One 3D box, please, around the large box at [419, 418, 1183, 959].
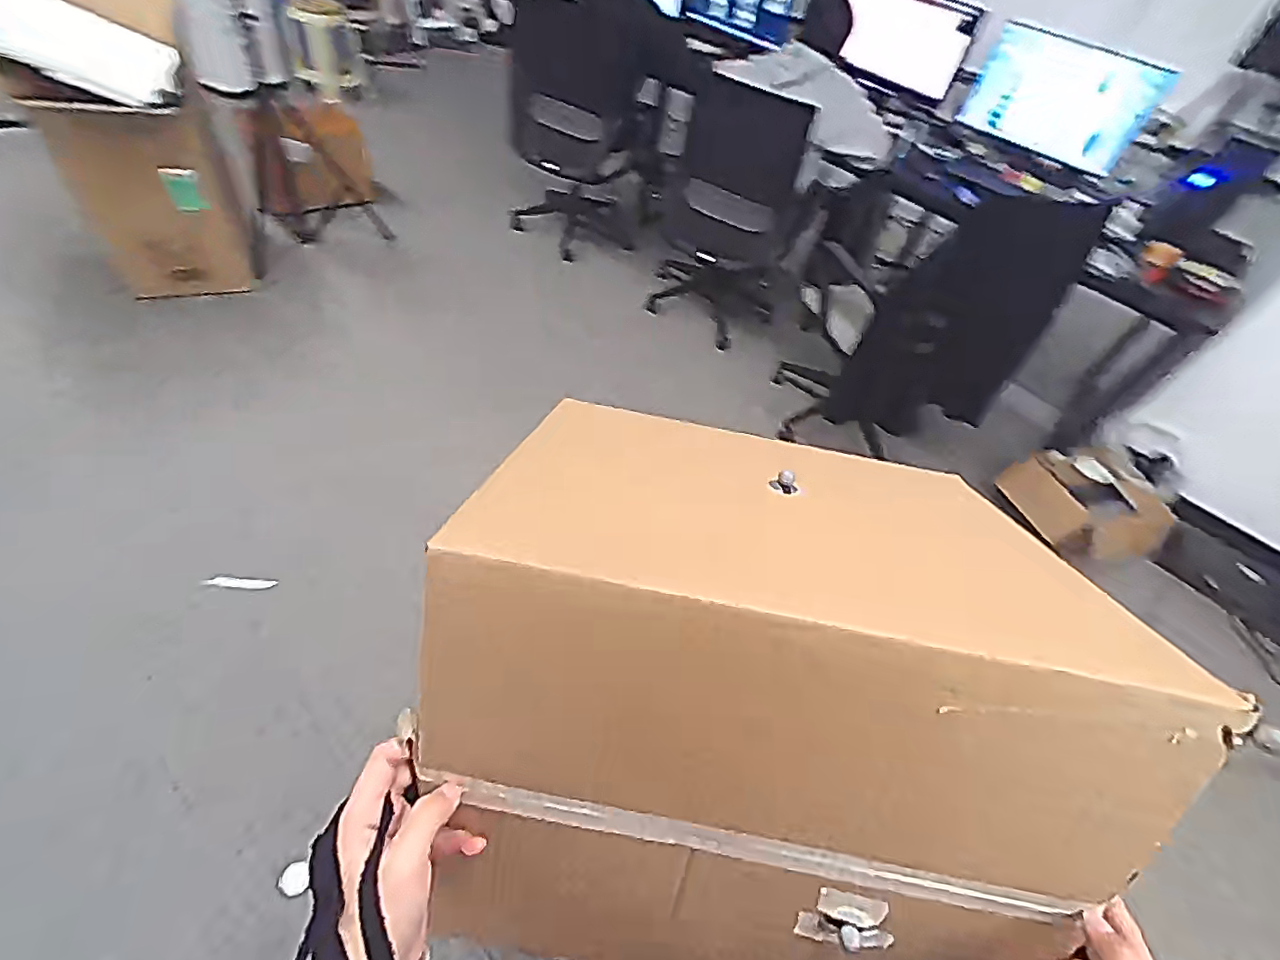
[{"bbox_3d":[0.069,0.154,0.469,0.408,0.320,0.320,9,23,0],"label":"large box"}]
